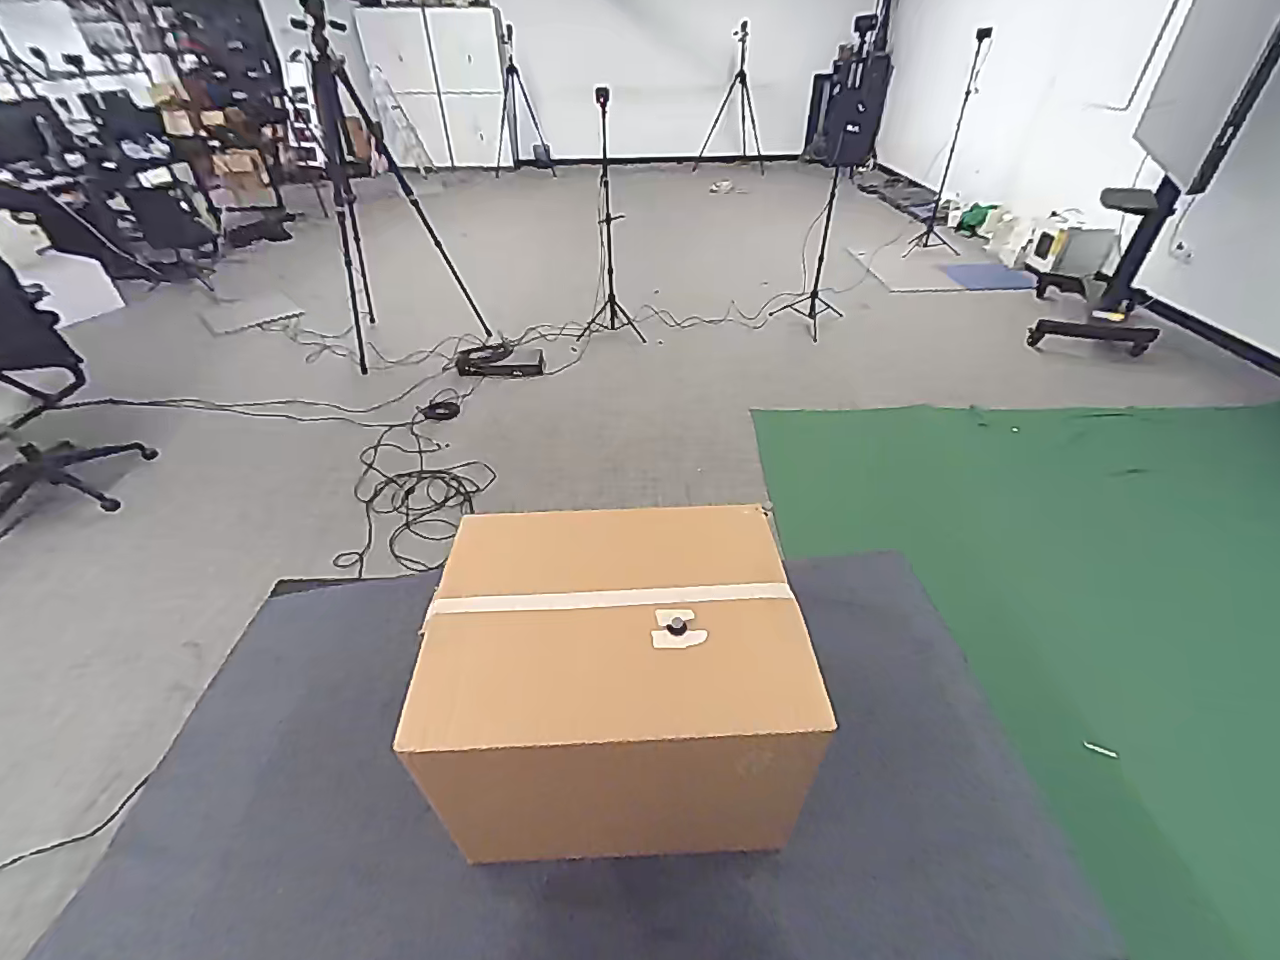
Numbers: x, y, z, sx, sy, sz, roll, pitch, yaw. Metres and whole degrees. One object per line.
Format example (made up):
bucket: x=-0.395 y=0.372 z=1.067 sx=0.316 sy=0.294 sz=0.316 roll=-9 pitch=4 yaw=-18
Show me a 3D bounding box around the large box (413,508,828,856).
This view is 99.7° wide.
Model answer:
large box: x=-0.025 y=0.257 z=0.714 sx=0.408 sy=0.320 sz=0.320 roll=-2 pitch=40 yaw=-2
